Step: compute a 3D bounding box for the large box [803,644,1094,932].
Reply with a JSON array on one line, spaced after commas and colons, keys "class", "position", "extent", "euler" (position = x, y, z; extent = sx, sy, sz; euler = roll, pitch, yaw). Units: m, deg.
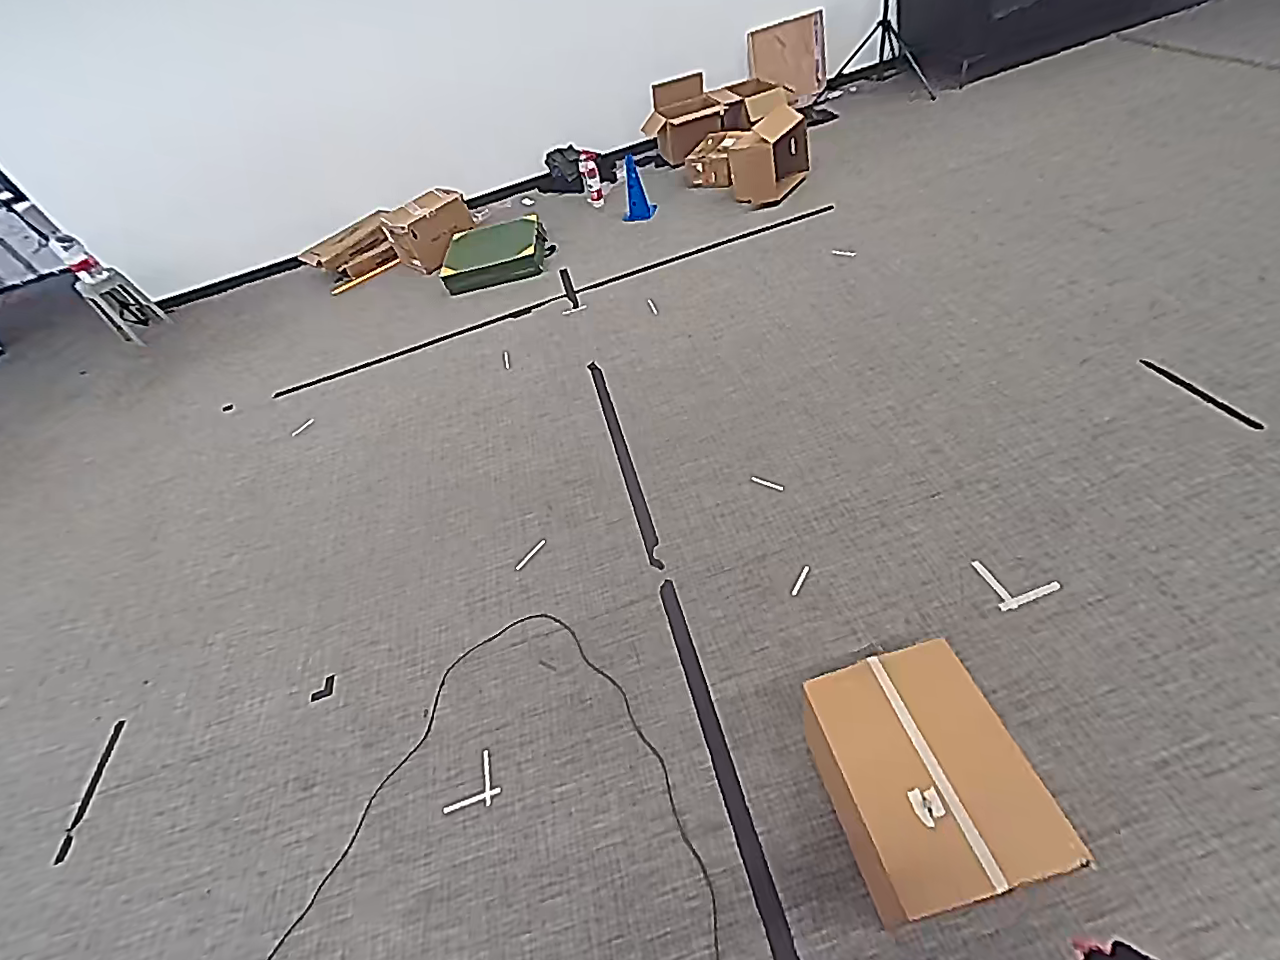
[{"class": "large box", "position": [0.564, 0.619, 1.101], "extent": [0.320, 0.320, 0.408], "euler": [-19, 47, 0]}]
